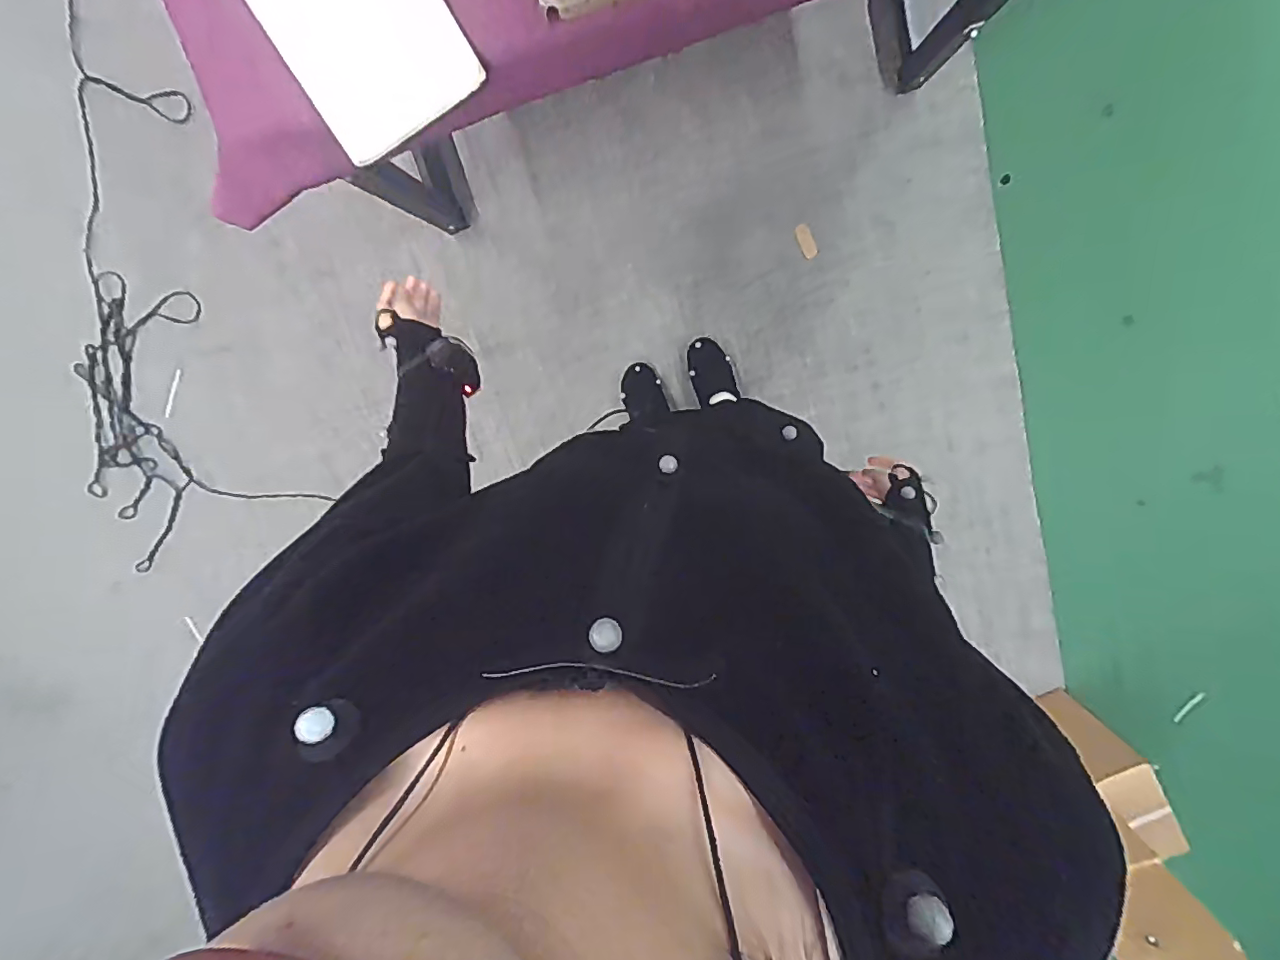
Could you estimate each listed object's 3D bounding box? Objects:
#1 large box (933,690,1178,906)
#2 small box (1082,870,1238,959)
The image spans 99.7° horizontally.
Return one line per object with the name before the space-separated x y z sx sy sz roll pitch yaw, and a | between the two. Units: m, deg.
large box | 1.155 0.890 1.547 0.408 0.320 0.320 -30 102 7
small box | 1.105 0.980 1.150 0.179 0.176 0.168 -23 102 8
